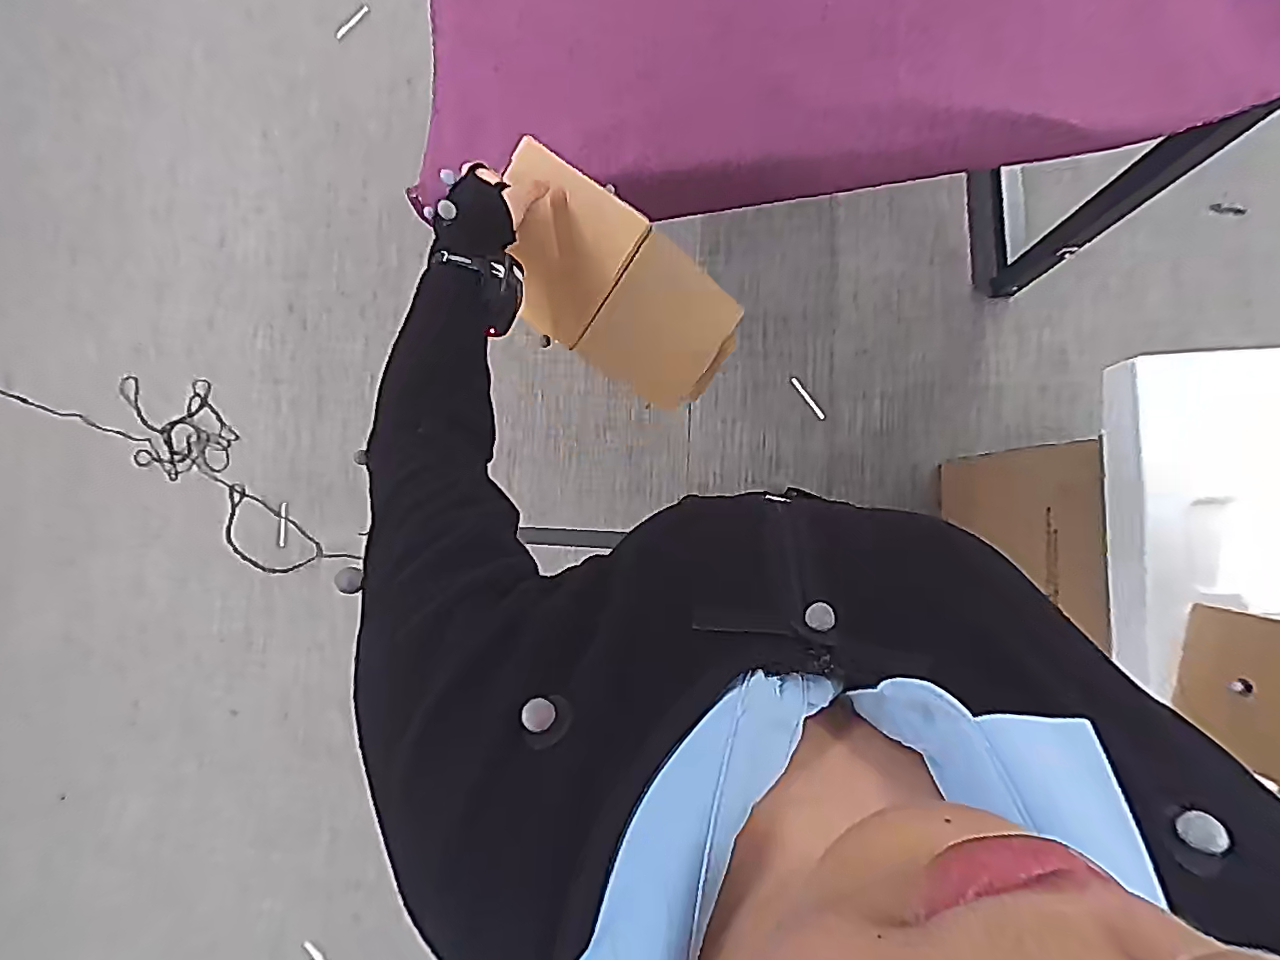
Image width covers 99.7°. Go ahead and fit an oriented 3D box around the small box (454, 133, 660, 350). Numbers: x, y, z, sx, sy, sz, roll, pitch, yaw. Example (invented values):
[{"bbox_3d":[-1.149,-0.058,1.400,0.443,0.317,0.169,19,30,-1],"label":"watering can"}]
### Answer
[{"bbox_3d":[-0.089,-0.279,0.679,0.179,0.176,0.168,34,101,2],"label":"small box"}]
